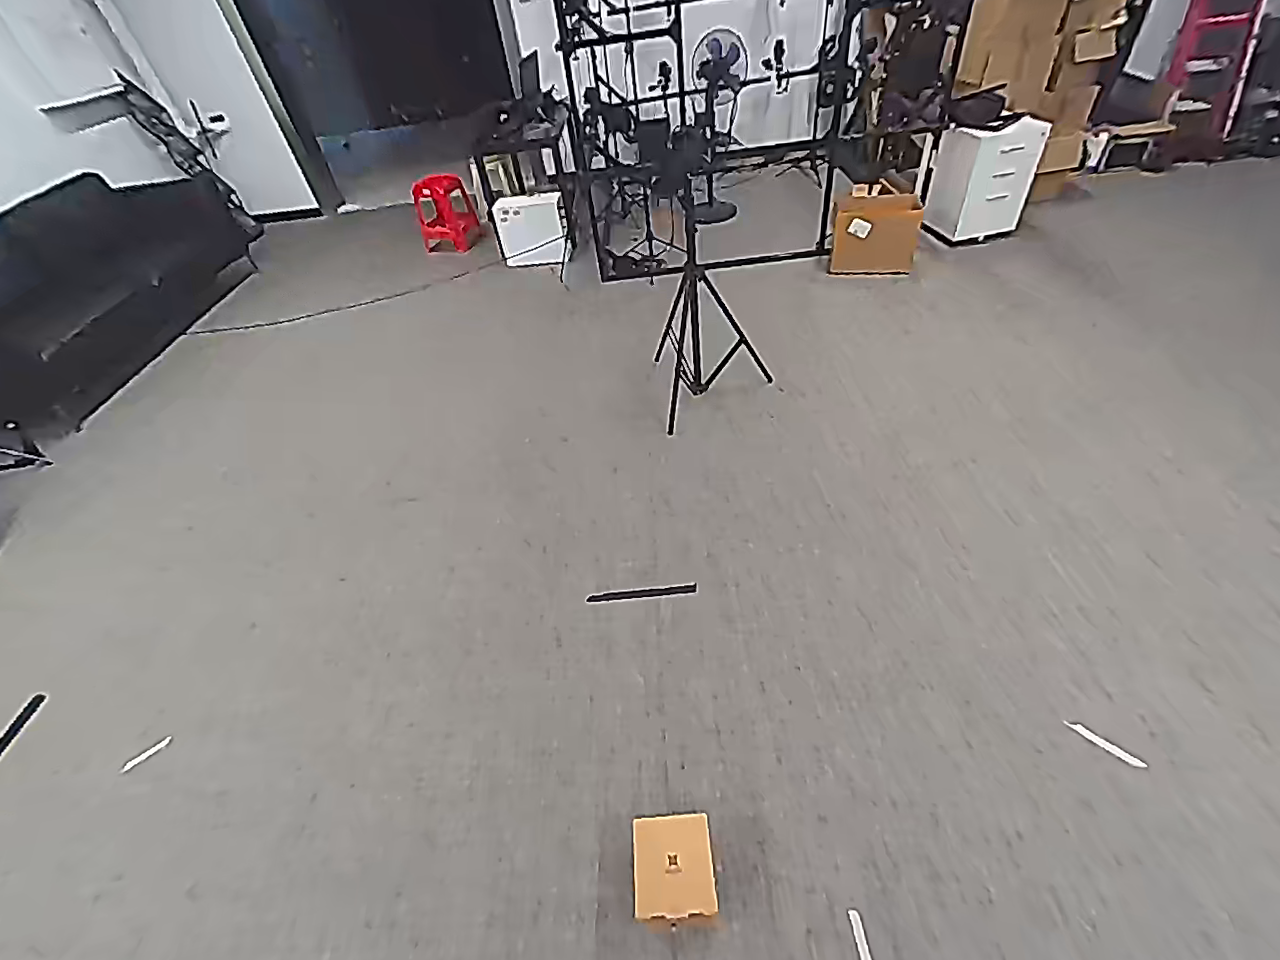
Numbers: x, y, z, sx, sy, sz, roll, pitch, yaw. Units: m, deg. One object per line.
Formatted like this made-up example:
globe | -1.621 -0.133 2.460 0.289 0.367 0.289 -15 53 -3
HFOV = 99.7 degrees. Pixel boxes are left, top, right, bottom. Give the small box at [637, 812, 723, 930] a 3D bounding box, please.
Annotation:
small box | 0.085 0.848 1.172 0.168 0.176 0.179 -7 44 2
